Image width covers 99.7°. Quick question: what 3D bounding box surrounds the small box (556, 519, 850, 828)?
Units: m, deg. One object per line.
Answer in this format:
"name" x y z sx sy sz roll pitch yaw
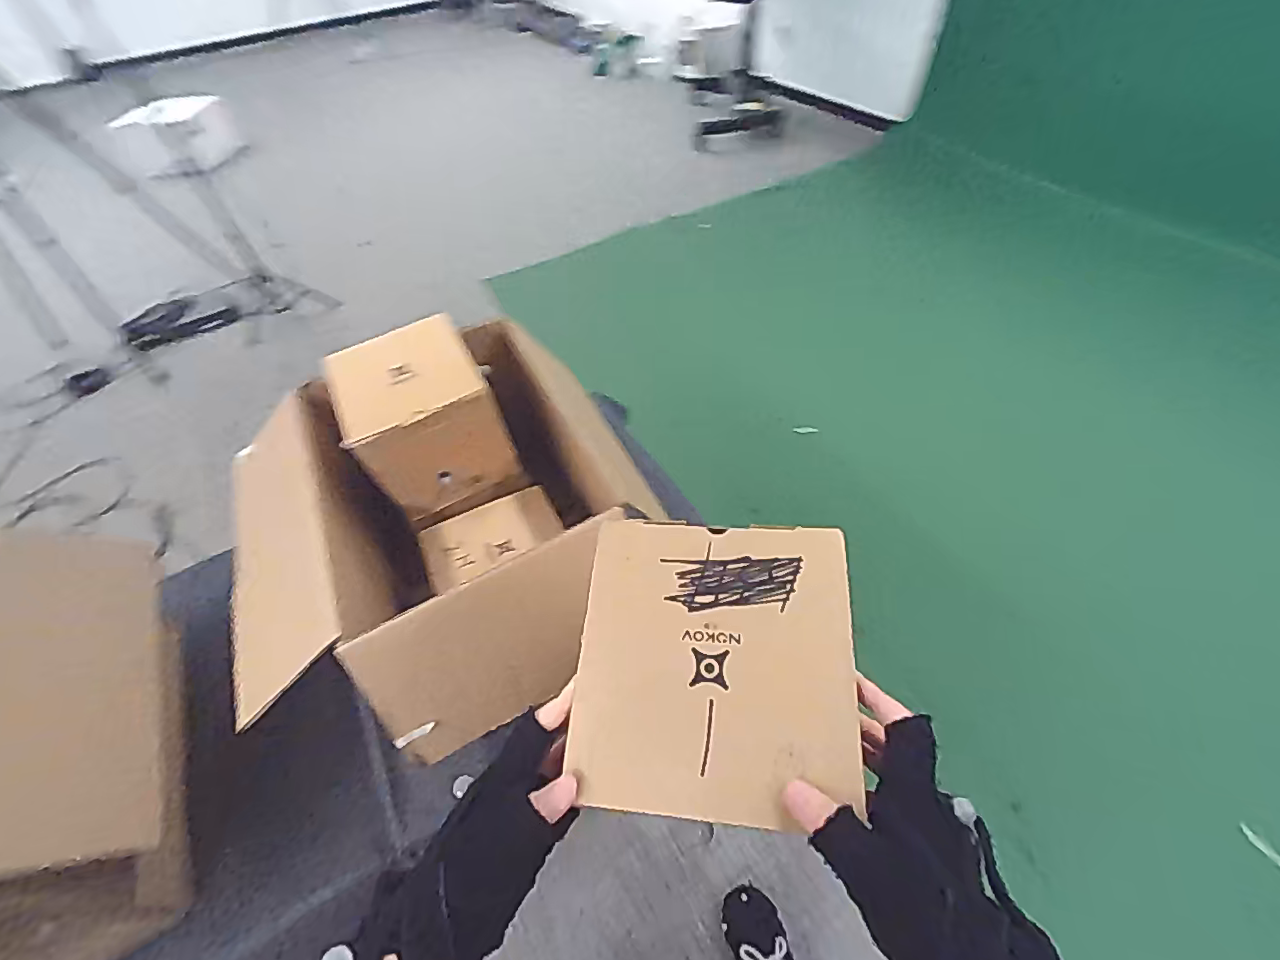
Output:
"small box" 0.049 0.146 0.406 0.168 0.176 0.179 1 60 9
